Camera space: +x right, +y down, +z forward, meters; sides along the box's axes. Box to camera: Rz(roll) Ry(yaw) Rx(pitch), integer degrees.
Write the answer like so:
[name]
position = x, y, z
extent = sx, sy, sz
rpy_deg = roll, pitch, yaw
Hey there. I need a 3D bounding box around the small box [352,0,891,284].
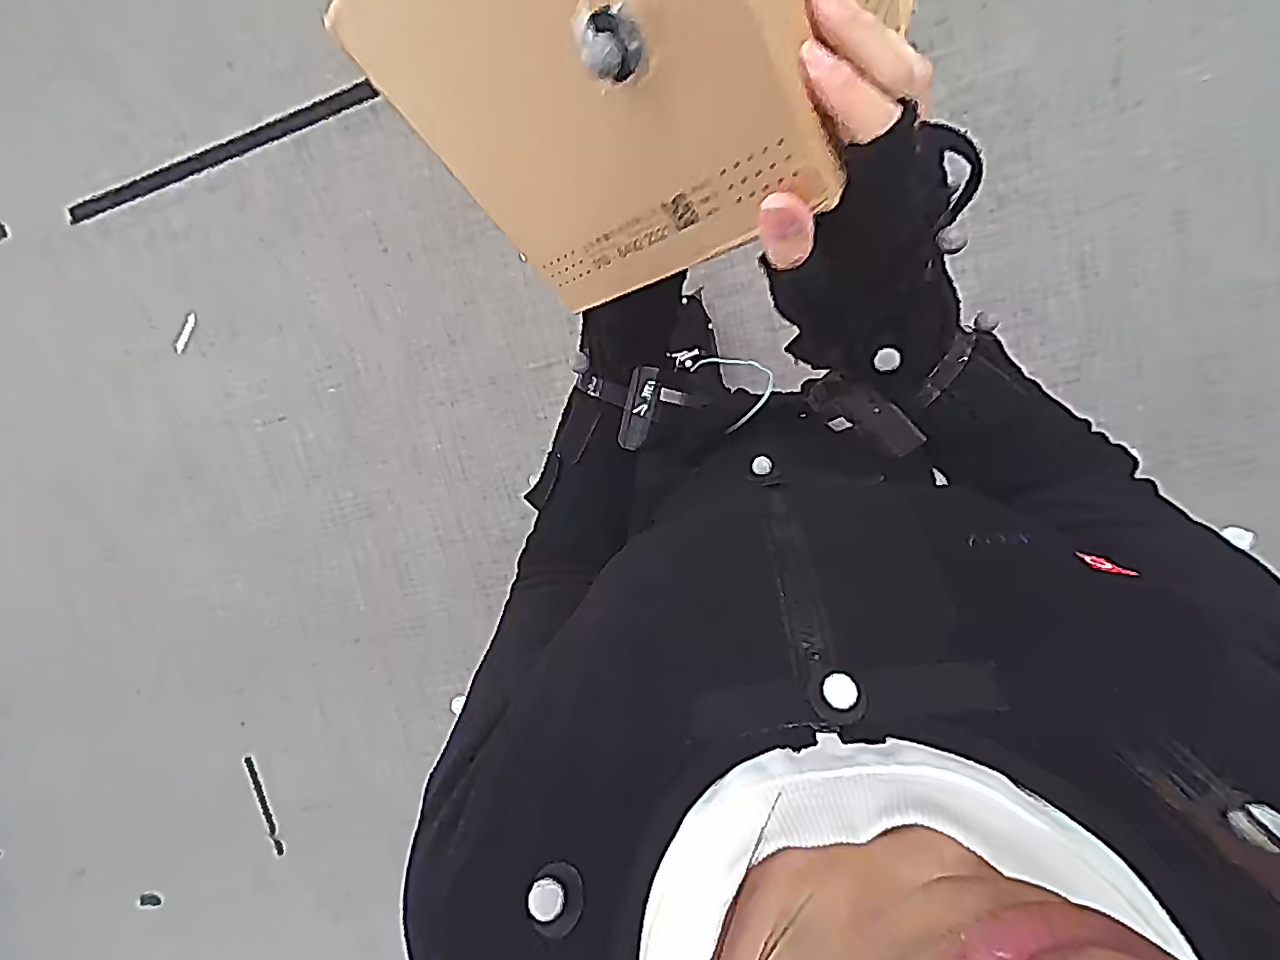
[small box]
position = 0.003, -0.224, 0.271
extent = 0.168, 0.179, 0.176
rpy_deg = 0, 144, 47
